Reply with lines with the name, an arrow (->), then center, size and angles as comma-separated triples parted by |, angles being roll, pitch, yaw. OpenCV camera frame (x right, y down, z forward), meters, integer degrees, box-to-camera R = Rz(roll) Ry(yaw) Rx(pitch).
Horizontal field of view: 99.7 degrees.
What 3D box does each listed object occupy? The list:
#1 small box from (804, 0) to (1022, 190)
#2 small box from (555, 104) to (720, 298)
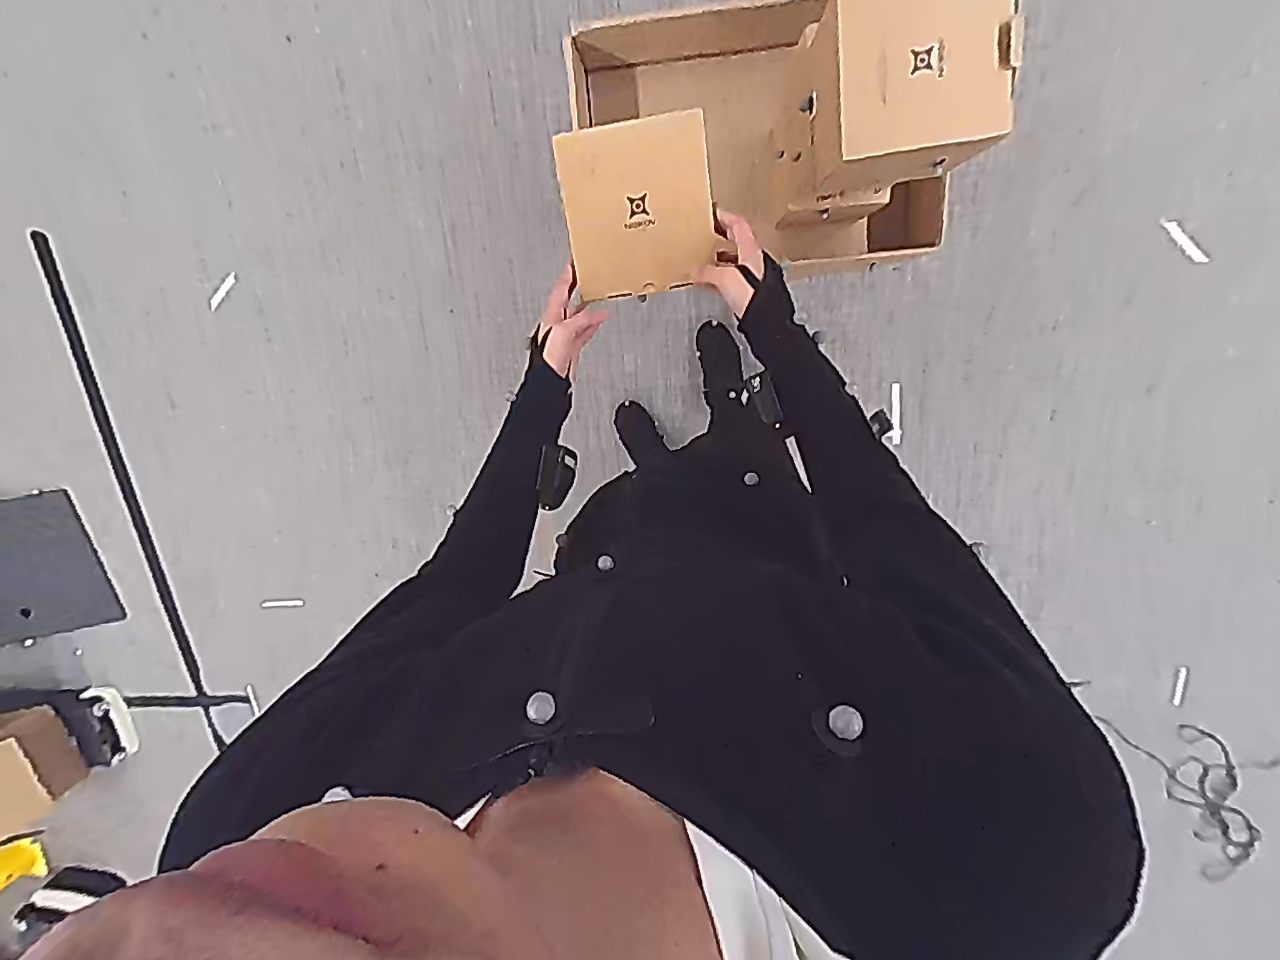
small box -> 0.300, -0.454, 0.626 | 0.179, 0.176, 0.168 | -6, 105, 6
small box -> 0.002, -0.328, 0.670 | 0.168, 0.176, 0.179 | -8, 110, 5
